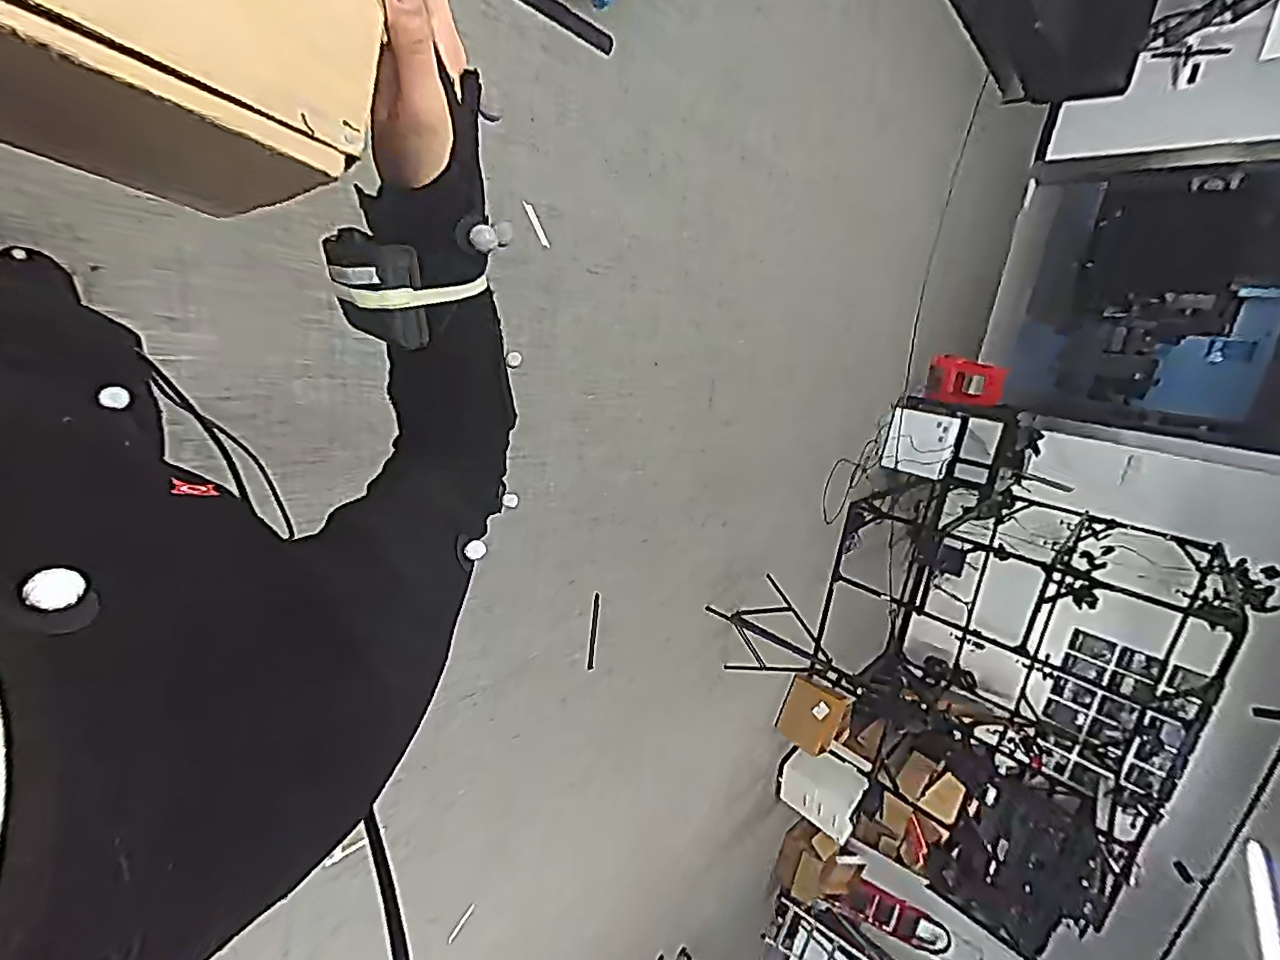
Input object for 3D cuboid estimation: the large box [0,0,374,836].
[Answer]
[{"bbox_3d":[-0.364,-0.072,0.197,0.320,0.320,0.408,-11,140,-1],"label":"large box"}]
